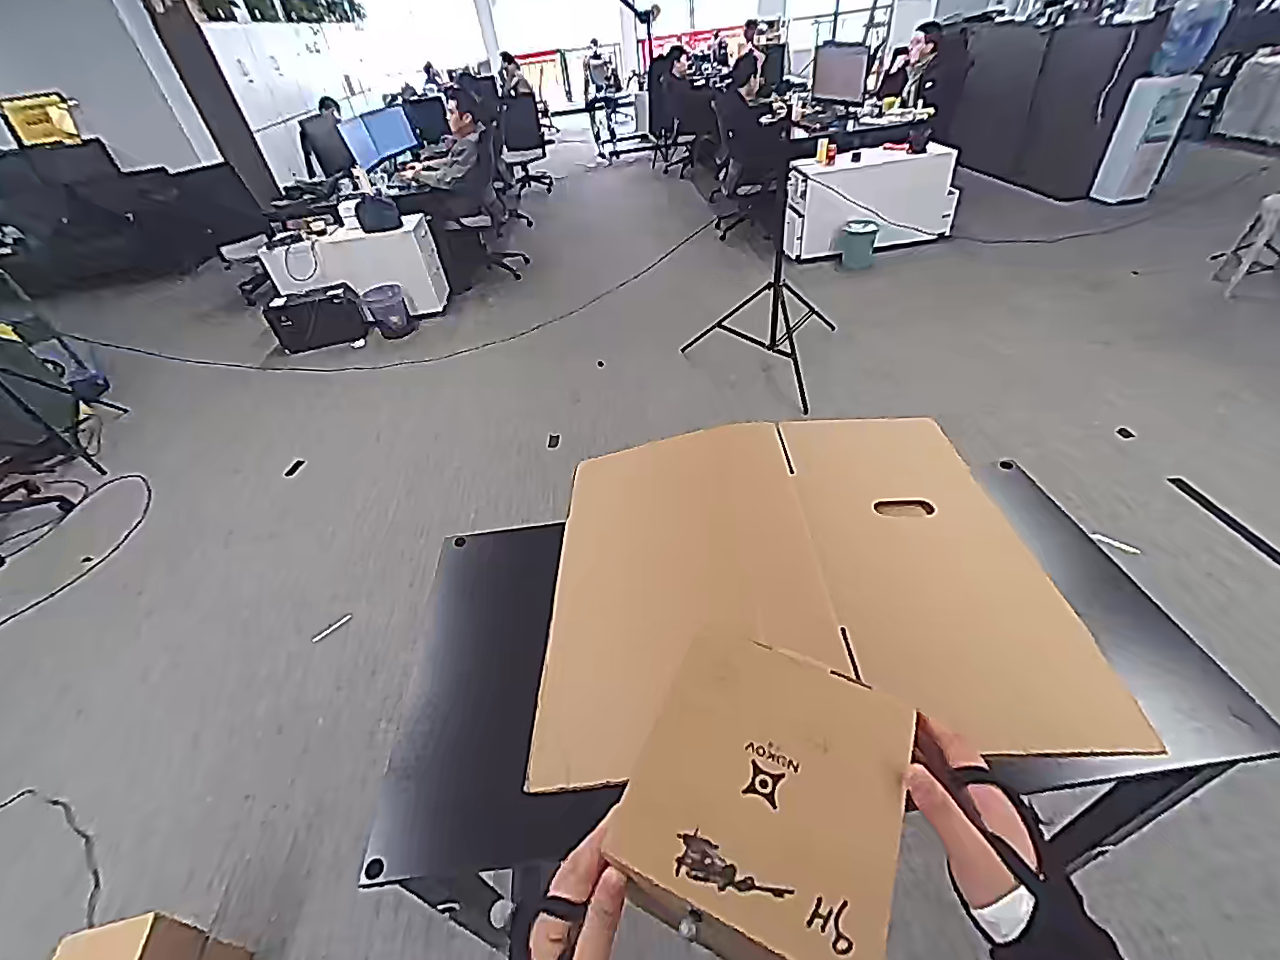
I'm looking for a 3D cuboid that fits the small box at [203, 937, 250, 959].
[{"bbox_3d":[-0.948,1.084,1.113,0.168,0.176,0.179,-11,41,-3],"label":"small box"}]

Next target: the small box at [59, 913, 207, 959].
[{"bbox_3d":[-0.968,0.957,1.013,0.168,0.176,0.179,-12,39,-6],"label":"small box"}]

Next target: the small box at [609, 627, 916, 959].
[{"bbox_3d":[0.094,0.253,0.416,0.168,0.176,0.179,15,47,22],"label":"small box"}]
